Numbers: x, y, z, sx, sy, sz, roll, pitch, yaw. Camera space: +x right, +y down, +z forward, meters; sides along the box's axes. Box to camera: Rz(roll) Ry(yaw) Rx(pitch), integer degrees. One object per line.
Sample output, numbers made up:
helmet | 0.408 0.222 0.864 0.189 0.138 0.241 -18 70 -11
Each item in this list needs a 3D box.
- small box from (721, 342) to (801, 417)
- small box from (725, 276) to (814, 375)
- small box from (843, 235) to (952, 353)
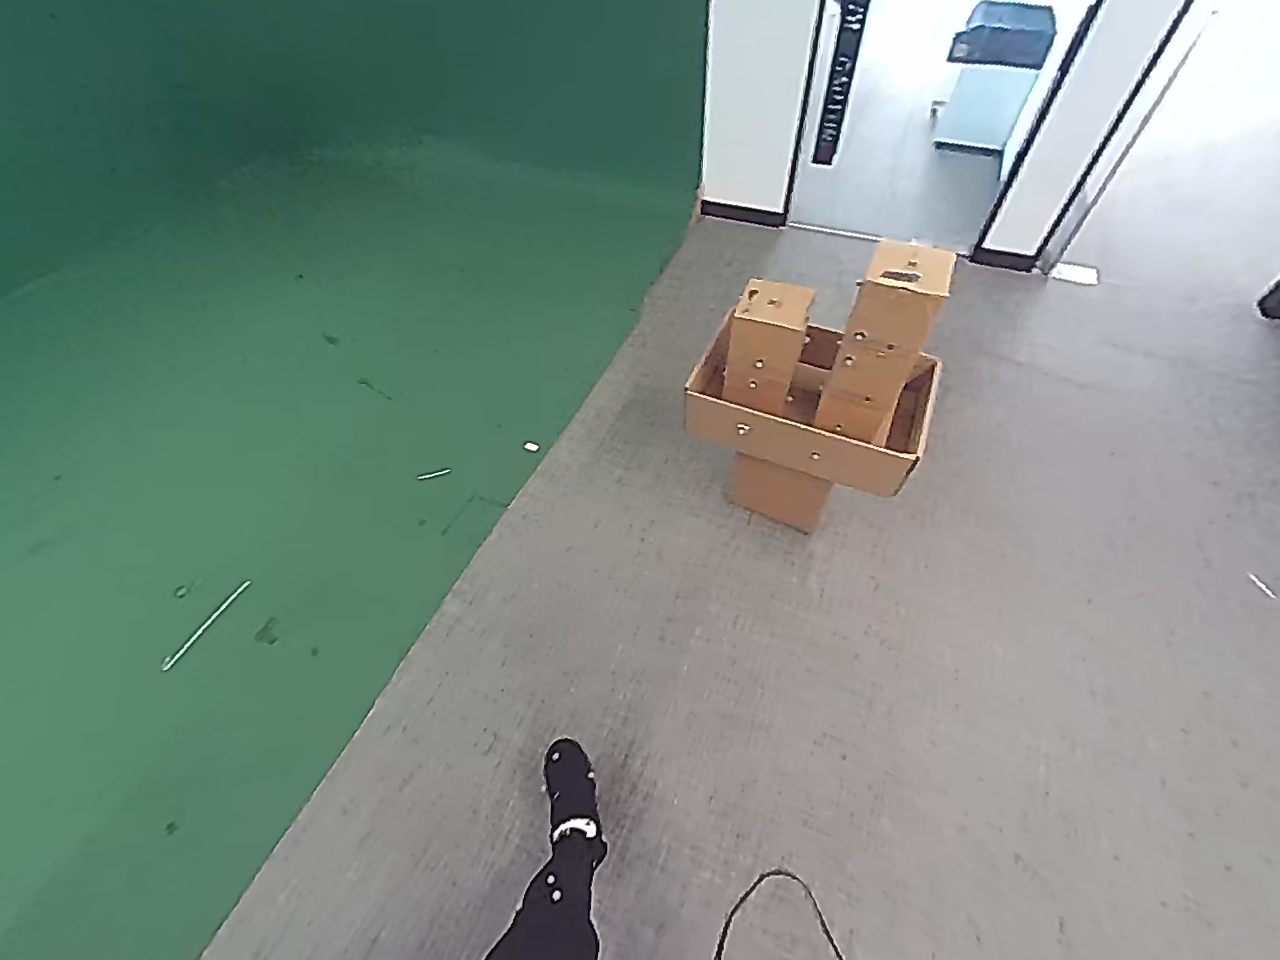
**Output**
small box | 0.341 -0.305 1.552 0.179 0.176 0.168 19 58 14
small box | 0.336 -0.400 1.418 0.179 0.176 0.168 18 57 13
small box | 0.571 -0.415 1.215 0.168 0.176 0.179 20 57 16
